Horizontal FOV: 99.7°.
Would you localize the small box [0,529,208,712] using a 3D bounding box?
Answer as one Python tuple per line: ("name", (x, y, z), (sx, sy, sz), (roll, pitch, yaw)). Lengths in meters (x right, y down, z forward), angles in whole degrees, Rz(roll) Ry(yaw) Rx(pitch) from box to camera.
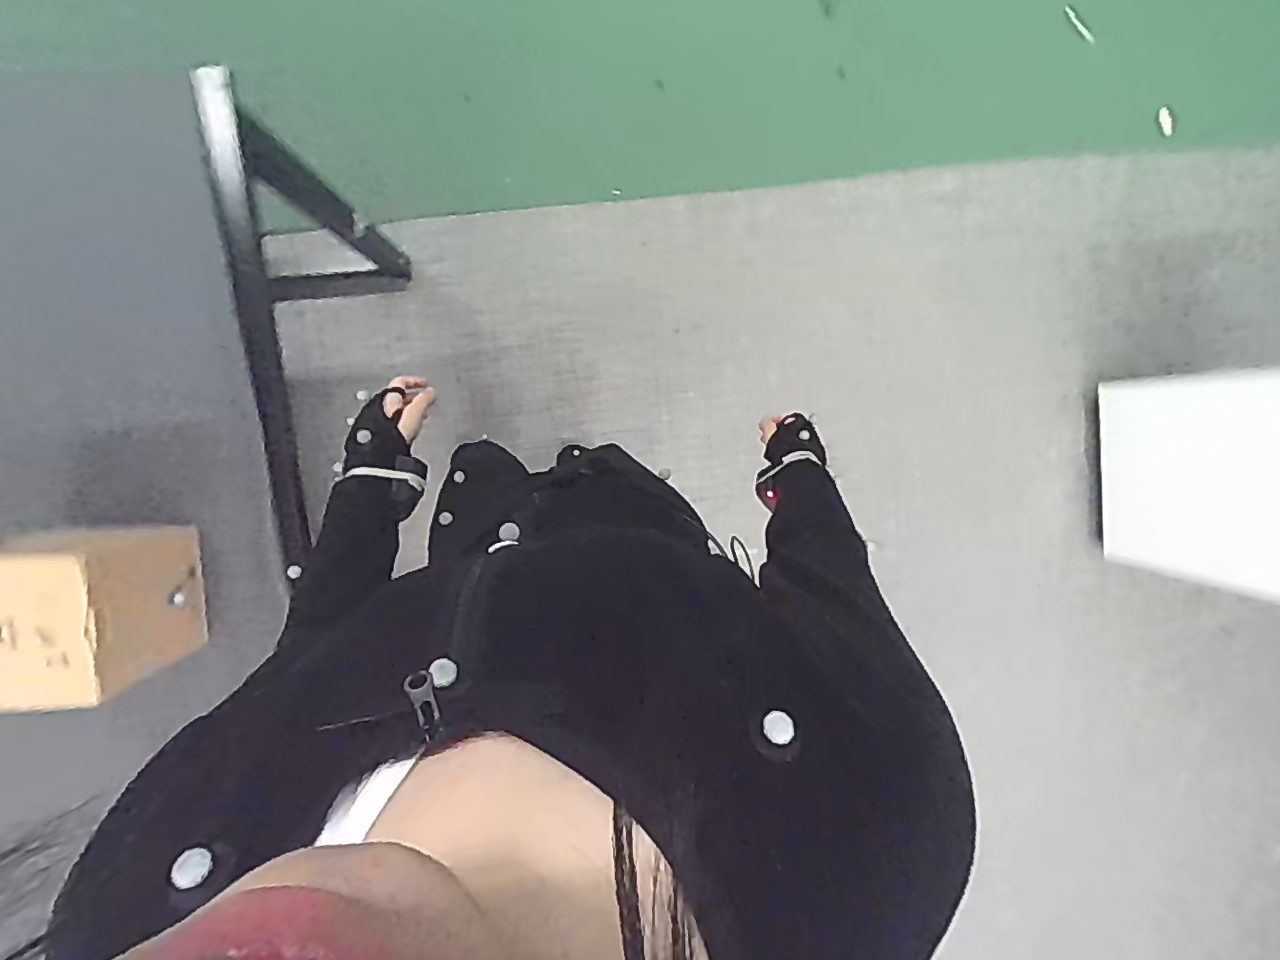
("small box", (-0.668, 0.155, 0.643), (0.179, 0.176, 0.168), (-2, 96, -5))
